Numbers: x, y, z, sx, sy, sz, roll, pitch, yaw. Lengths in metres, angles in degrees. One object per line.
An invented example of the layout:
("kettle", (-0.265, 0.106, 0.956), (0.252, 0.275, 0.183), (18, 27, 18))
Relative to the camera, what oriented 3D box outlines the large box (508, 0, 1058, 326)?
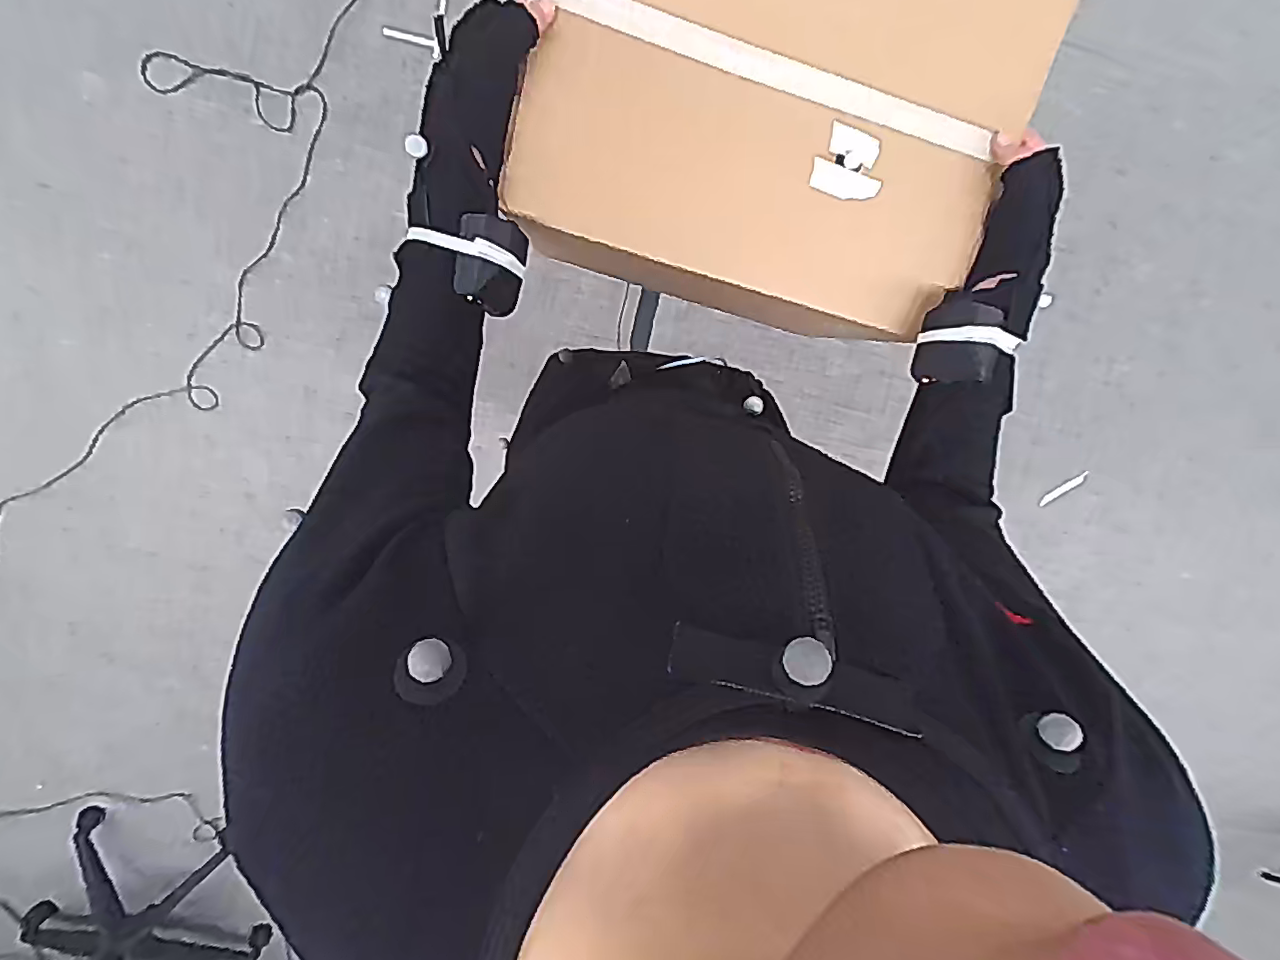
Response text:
("large box", (0.103, -0.368, 0.575), (0.408, 0.320, 0.320), (13, 106, -9))
